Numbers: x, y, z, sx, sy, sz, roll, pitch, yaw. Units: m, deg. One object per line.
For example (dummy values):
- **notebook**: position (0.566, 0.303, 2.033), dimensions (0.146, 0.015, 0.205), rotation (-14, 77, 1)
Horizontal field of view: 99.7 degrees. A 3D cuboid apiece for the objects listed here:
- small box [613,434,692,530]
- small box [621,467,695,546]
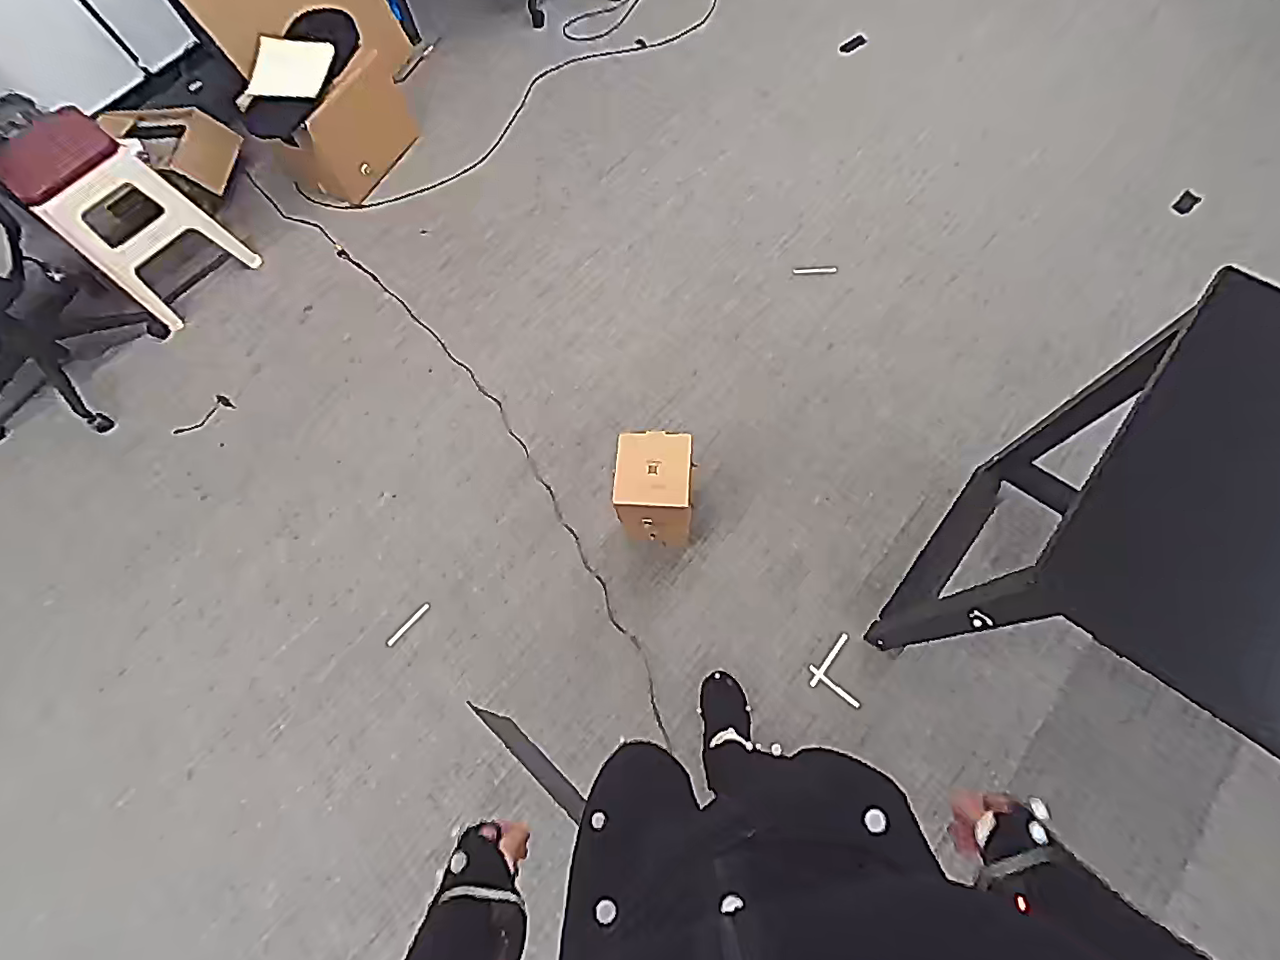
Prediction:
- **small box**: position (0.036, 0.007, 1.264), dimensions (0.168, 0.176, 0.179), rotation (2, 70, 7)
- **small box**: position (0.051, 0.066, 1.416), dimensions (0.168, 0.176, 0.179), rotation (7, 69, 6)
